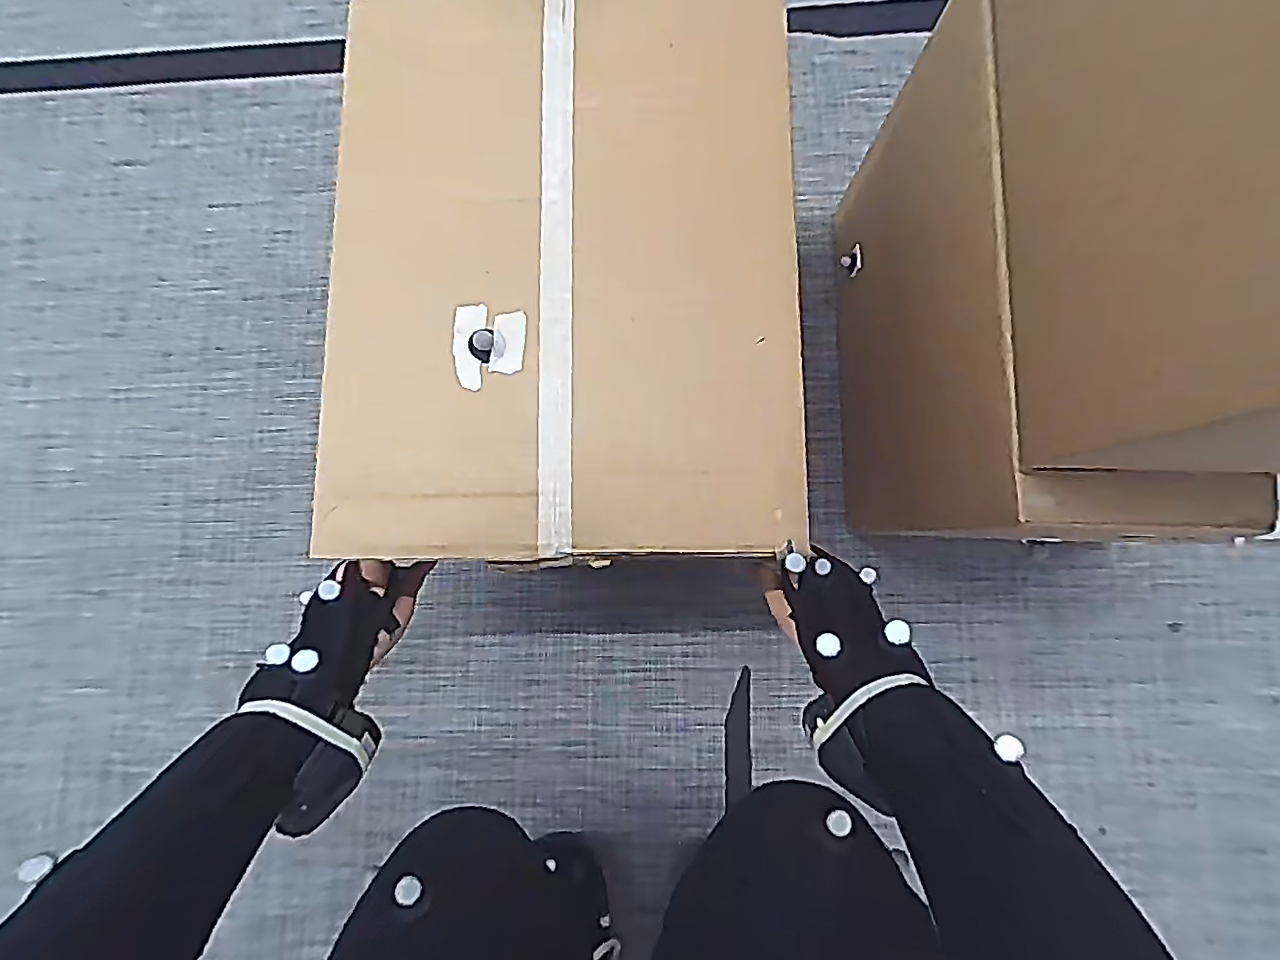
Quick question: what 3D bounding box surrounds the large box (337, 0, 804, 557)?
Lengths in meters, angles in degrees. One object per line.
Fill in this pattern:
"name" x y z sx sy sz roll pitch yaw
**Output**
"large box" -0.050 -0.138 0.520 0.320 0.320 0.408 -2 83 3
